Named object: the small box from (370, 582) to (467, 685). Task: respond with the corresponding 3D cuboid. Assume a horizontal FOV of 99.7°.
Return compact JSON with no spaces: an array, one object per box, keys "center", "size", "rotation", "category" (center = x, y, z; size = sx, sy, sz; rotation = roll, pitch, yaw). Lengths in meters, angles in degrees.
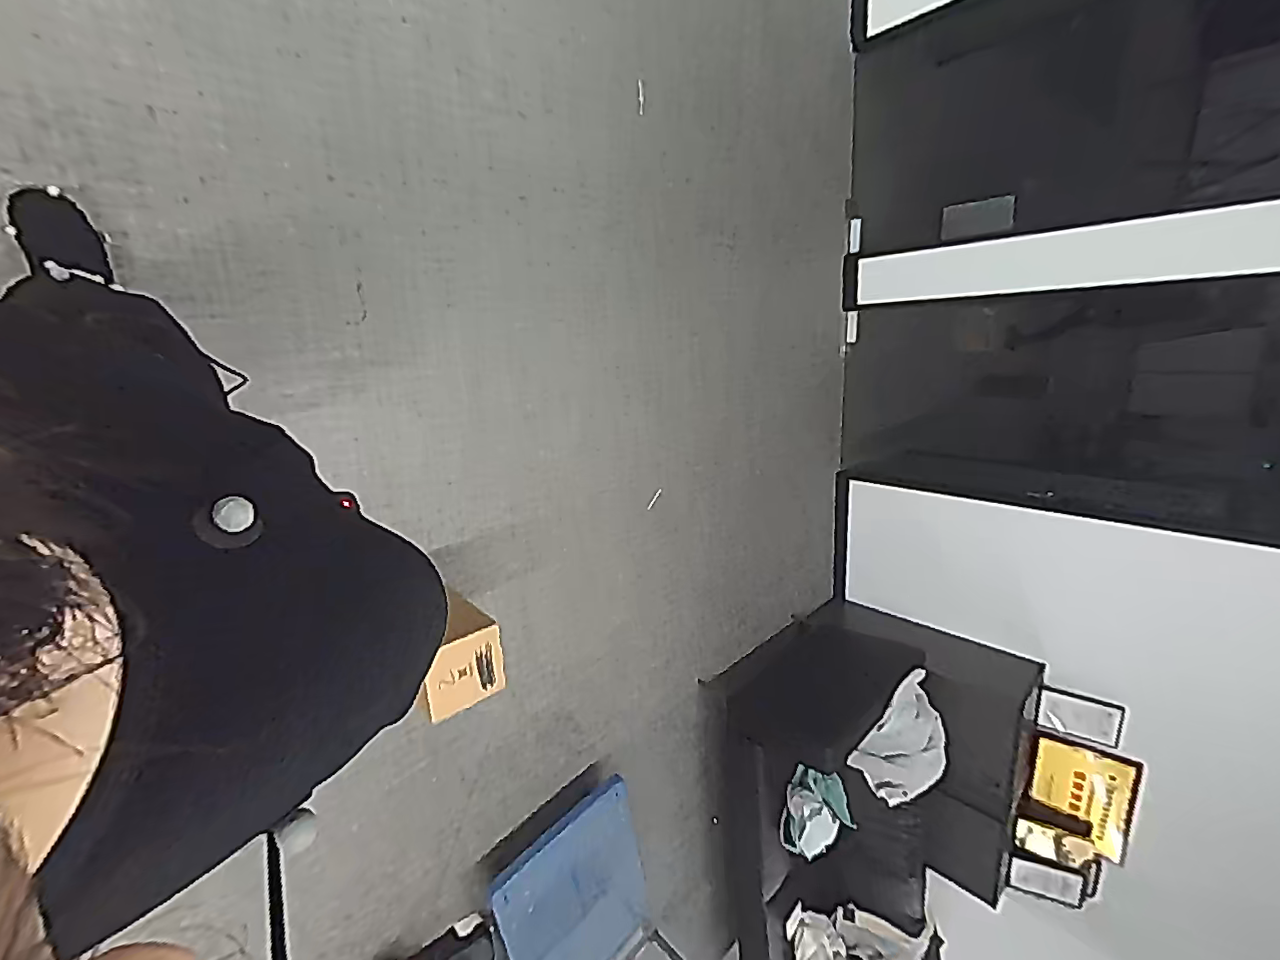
[{"center":[-0.552,0.367,1.342],"size":[0.168,0.176,0.179],"rotation":[-16,111,-40],"category":"small box"}]
